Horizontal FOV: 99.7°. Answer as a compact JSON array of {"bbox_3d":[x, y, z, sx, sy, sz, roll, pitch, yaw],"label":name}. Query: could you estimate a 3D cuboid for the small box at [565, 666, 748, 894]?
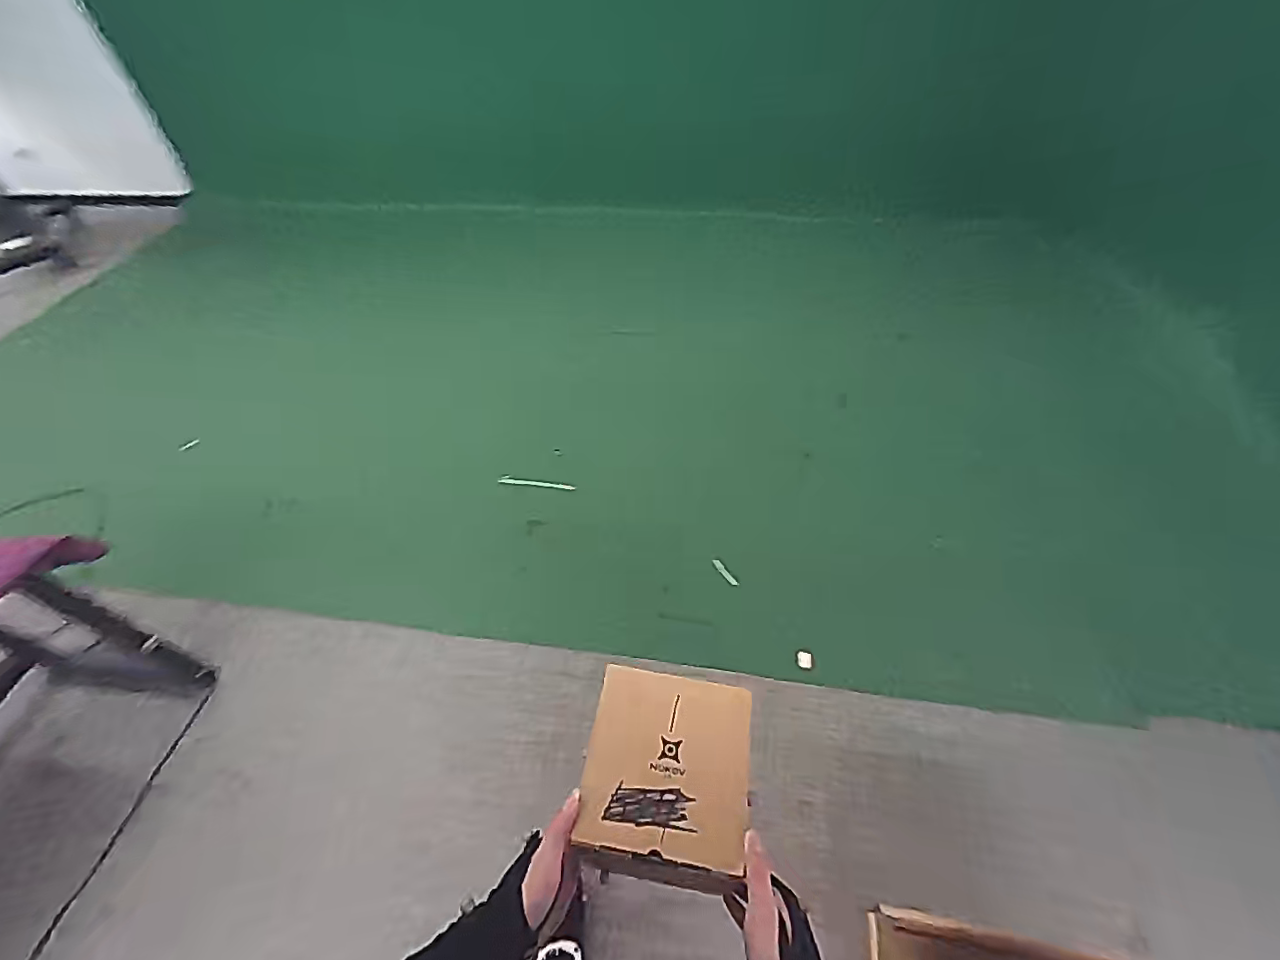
[{"bbox_3d":[0.023,0.336,0.600,0.168,0.176,0.179,8,48,5],"label":"small box"}]
